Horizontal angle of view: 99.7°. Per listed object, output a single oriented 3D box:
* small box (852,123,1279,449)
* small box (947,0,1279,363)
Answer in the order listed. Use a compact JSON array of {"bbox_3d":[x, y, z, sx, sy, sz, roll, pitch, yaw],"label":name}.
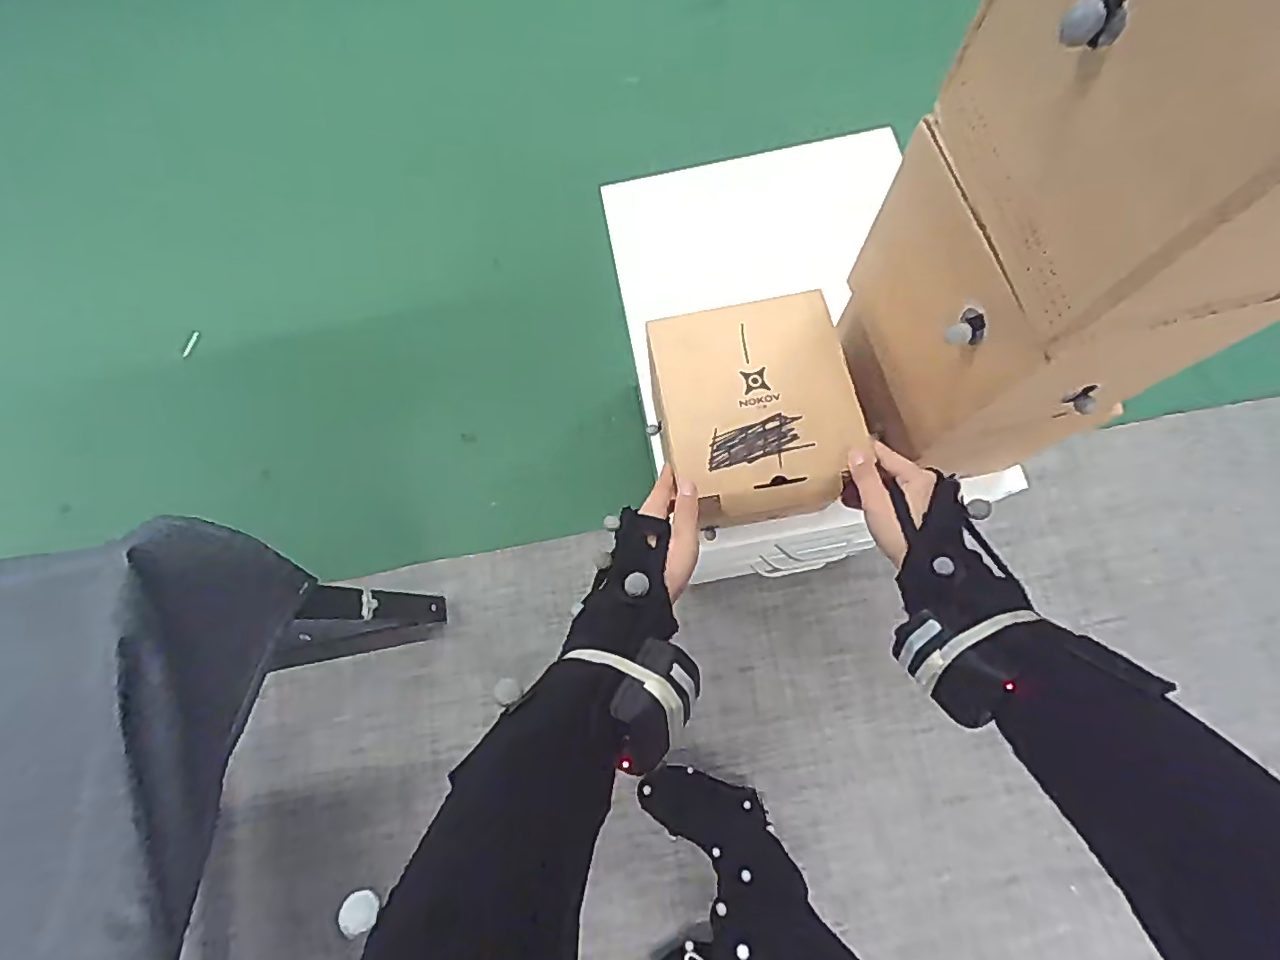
[{"bbox_3d":[0.278,-0.133,0.384,0.168,0.176,0.179,-14,74,0],"label":"small box"},{"bbox_3d":[0.268,-0.177,0.227,0.168,0.176,0.179,-12,73,1],"label":"small box"}]
